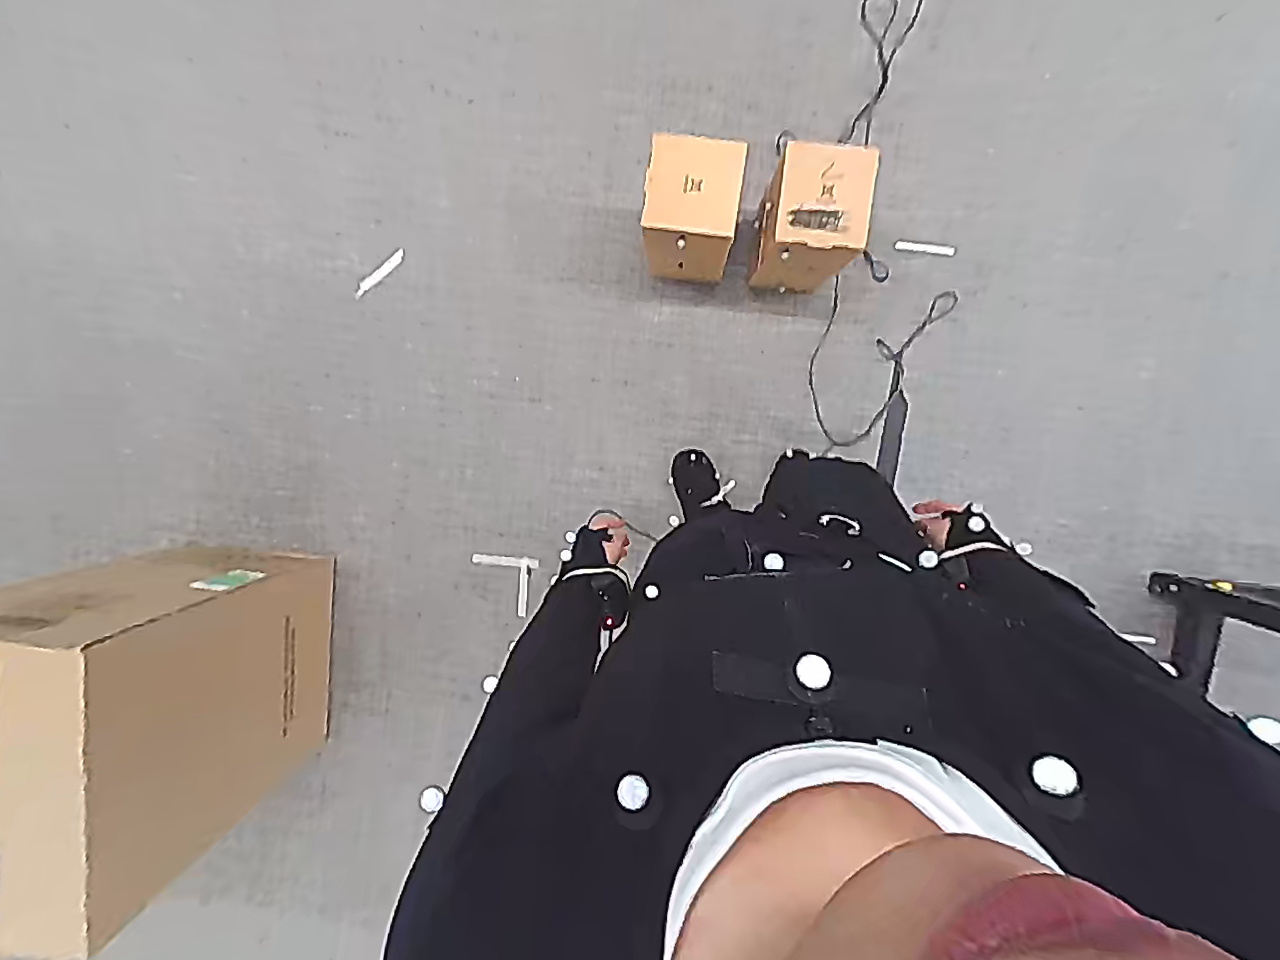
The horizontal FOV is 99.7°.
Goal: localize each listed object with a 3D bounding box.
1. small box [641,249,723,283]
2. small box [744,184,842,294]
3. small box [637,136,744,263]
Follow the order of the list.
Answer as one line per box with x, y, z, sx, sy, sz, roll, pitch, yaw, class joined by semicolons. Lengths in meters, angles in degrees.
0.105;-0.557;1.225;0.179;0.176;0.168;8;96;4;small box
0.335;-0.534;1.217;0.168;0.176;0.179;6;97;2;small box
0.096;-0.541;1.065;0.179;0.176;0.168;9;96;3;small box
